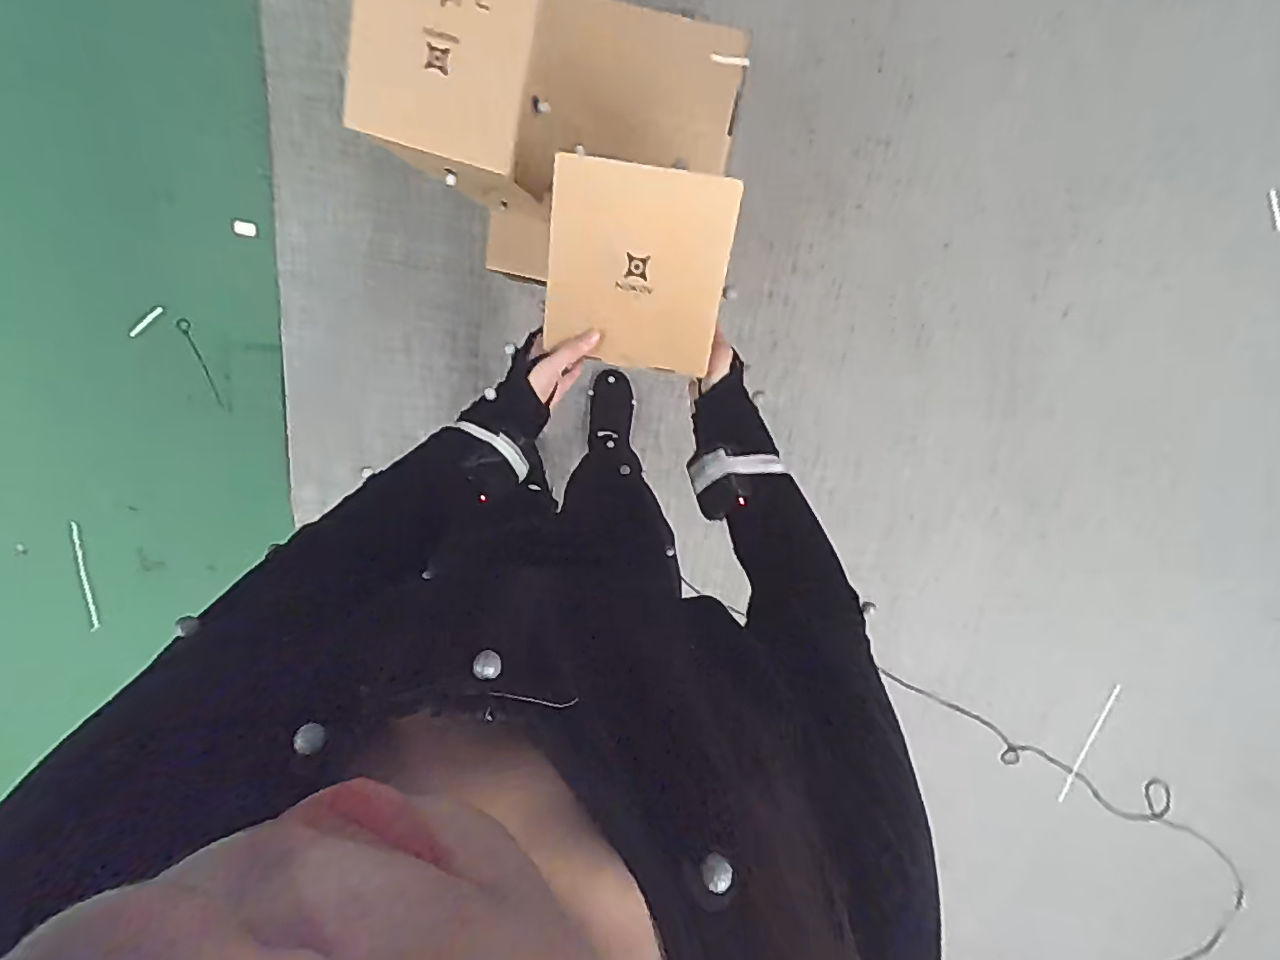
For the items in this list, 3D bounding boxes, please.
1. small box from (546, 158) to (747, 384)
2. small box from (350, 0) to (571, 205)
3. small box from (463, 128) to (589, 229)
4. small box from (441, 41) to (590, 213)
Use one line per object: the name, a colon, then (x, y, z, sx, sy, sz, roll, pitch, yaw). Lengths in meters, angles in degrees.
small box: (0.005, -0.218, 0.567, 0.168, 0.176, 0.179, 9, 116, 1)
small box: (-0.179, -0.417, 0.579, 0.168, 0.176, 0.179, 16, 107, -4)
small box: (-0.180, -0.529, 0.889, 0.168, 0.176, 0.179, 11, 107, -2)
small box: (-0.176, -0.473, 0.731, 0.179, 0.176, 0.168, 10, 108, 1)
